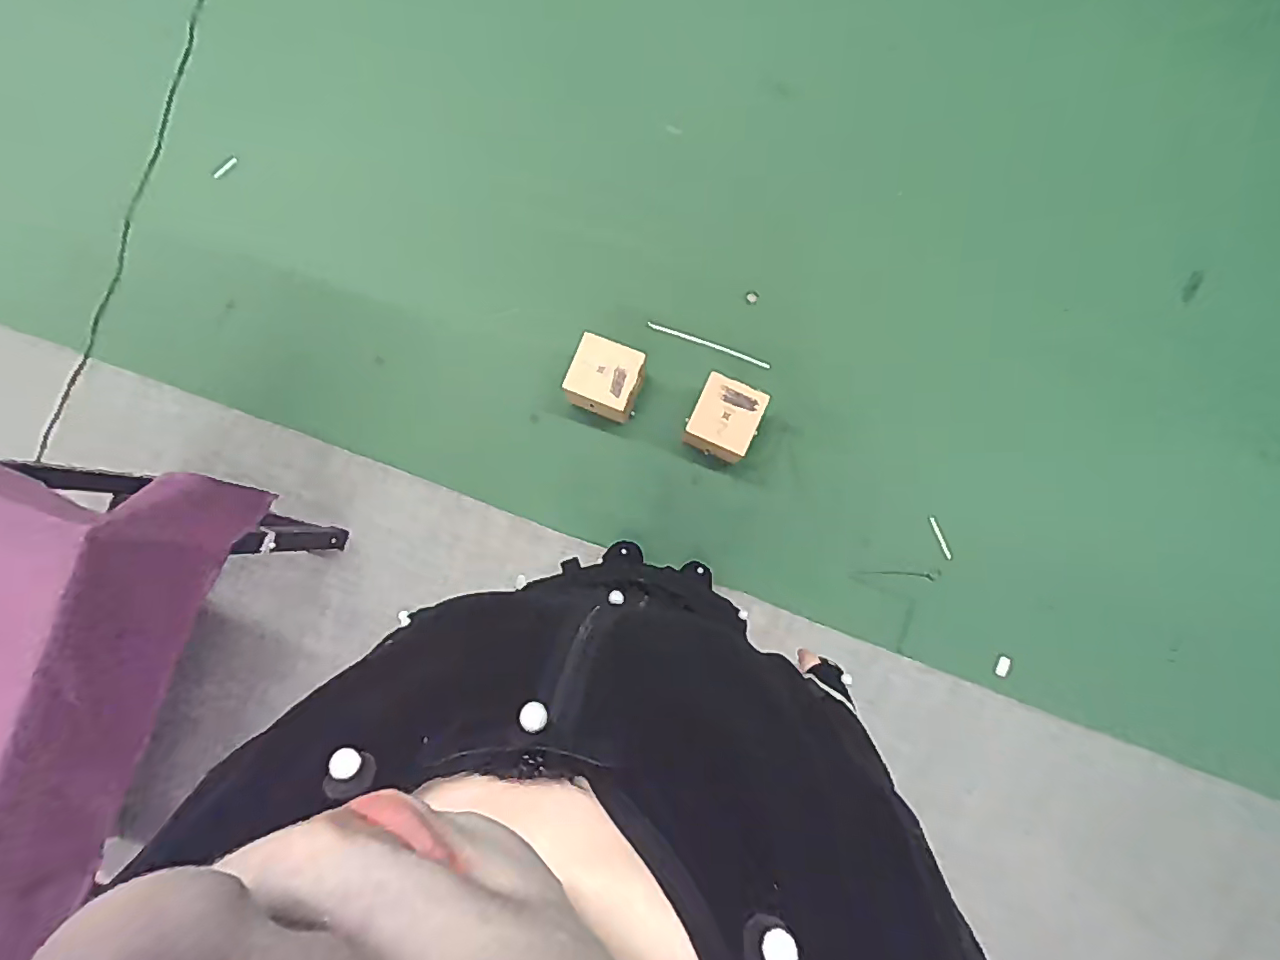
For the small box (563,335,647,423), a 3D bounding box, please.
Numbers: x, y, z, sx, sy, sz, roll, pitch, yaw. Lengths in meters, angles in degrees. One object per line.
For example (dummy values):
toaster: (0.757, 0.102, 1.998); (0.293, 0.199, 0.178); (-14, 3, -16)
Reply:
small box: (-0.088, -0.267, 1.484); (0.179, 0.176, 0.168); (22, 85, 5)
